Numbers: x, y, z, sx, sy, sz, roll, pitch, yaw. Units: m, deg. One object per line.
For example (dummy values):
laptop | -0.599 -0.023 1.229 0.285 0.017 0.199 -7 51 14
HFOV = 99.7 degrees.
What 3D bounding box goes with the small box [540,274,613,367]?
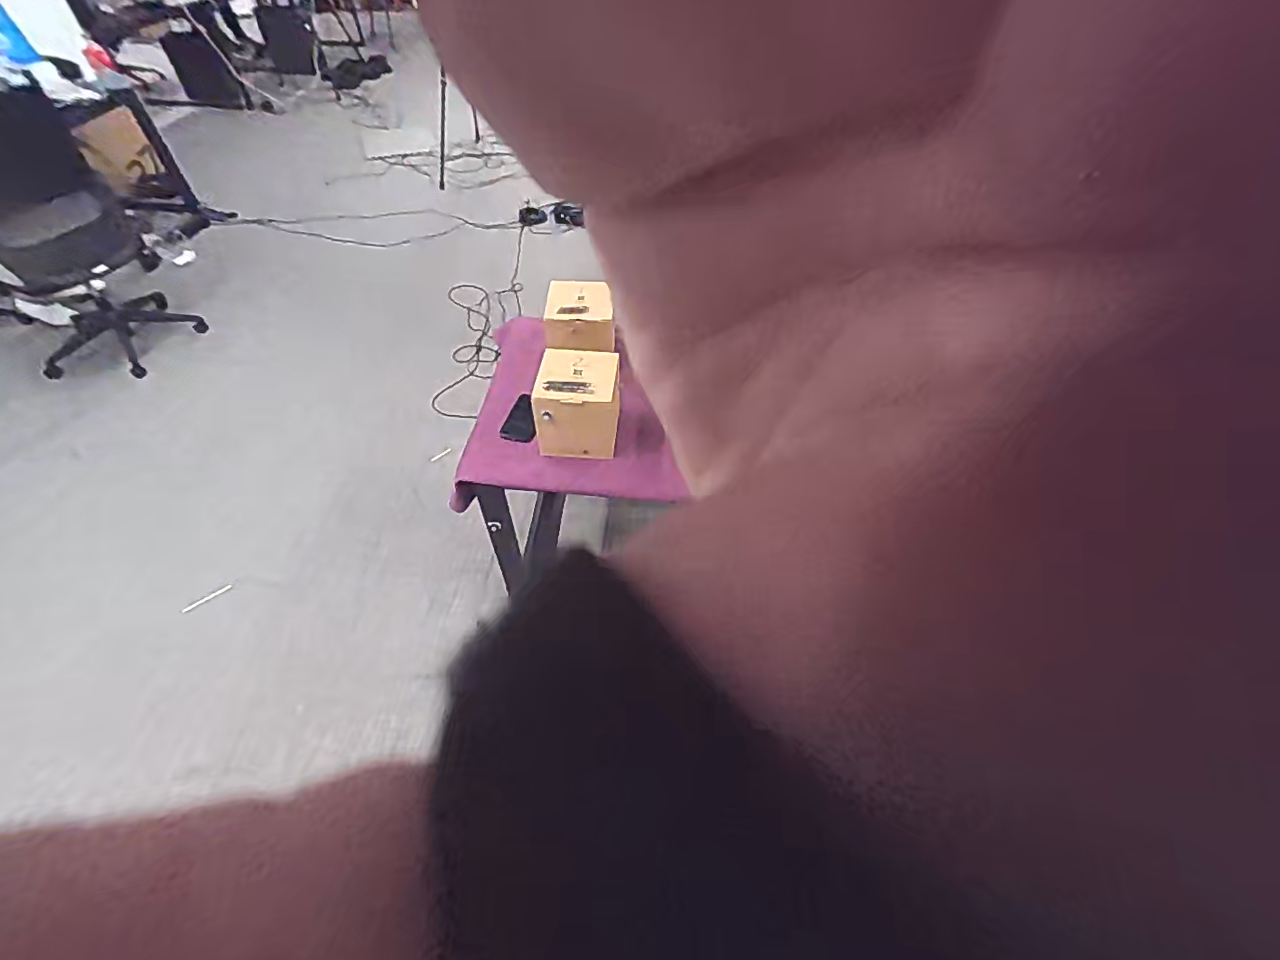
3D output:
small box | -0.156 -0.406 1.390 0.168 0.176 0.179 1 50 -2
